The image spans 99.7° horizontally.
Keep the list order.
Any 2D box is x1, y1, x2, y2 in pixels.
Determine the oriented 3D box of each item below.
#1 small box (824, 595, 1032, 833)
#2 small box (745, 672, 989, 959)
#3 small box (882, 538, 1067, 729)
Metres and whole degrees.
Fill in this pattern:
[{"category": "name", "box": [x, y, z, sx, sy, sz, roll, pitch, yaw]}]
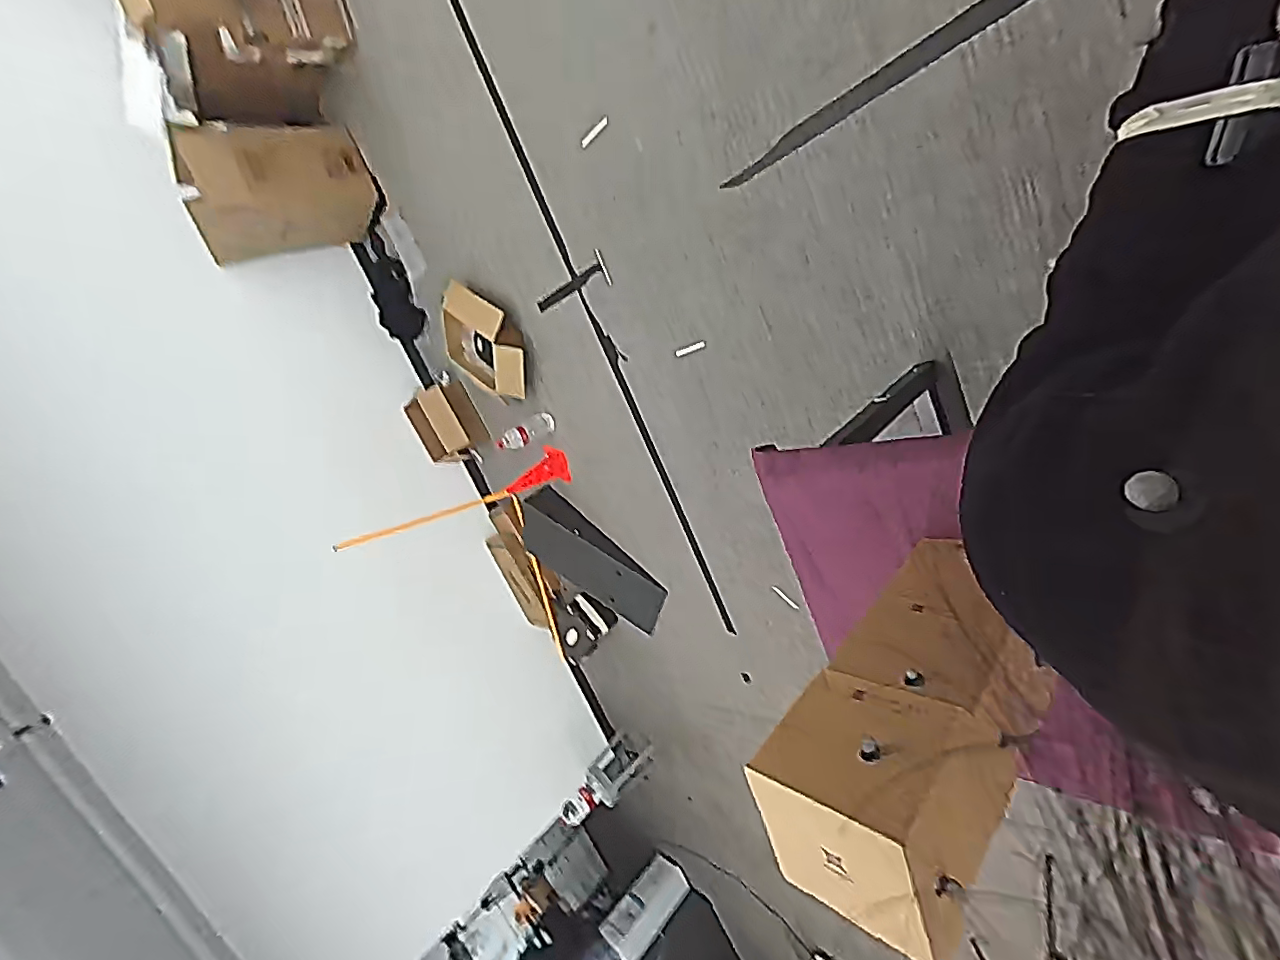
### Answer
[{"category": "small box", "box": [0.359, 0.271, 0.667, 0.168, 0.176, 0.179, 0, 117, 50]}, {"category": "small box", "box": [0.244, 0.337, 0.572, 0.168, 0.176, 0.179, -1, 116, 50]}, {"category": "small box", "box": [0.474, 0.203, 0.762, 0.168, 0.176, 0.179, -3, 113, 51]}]
